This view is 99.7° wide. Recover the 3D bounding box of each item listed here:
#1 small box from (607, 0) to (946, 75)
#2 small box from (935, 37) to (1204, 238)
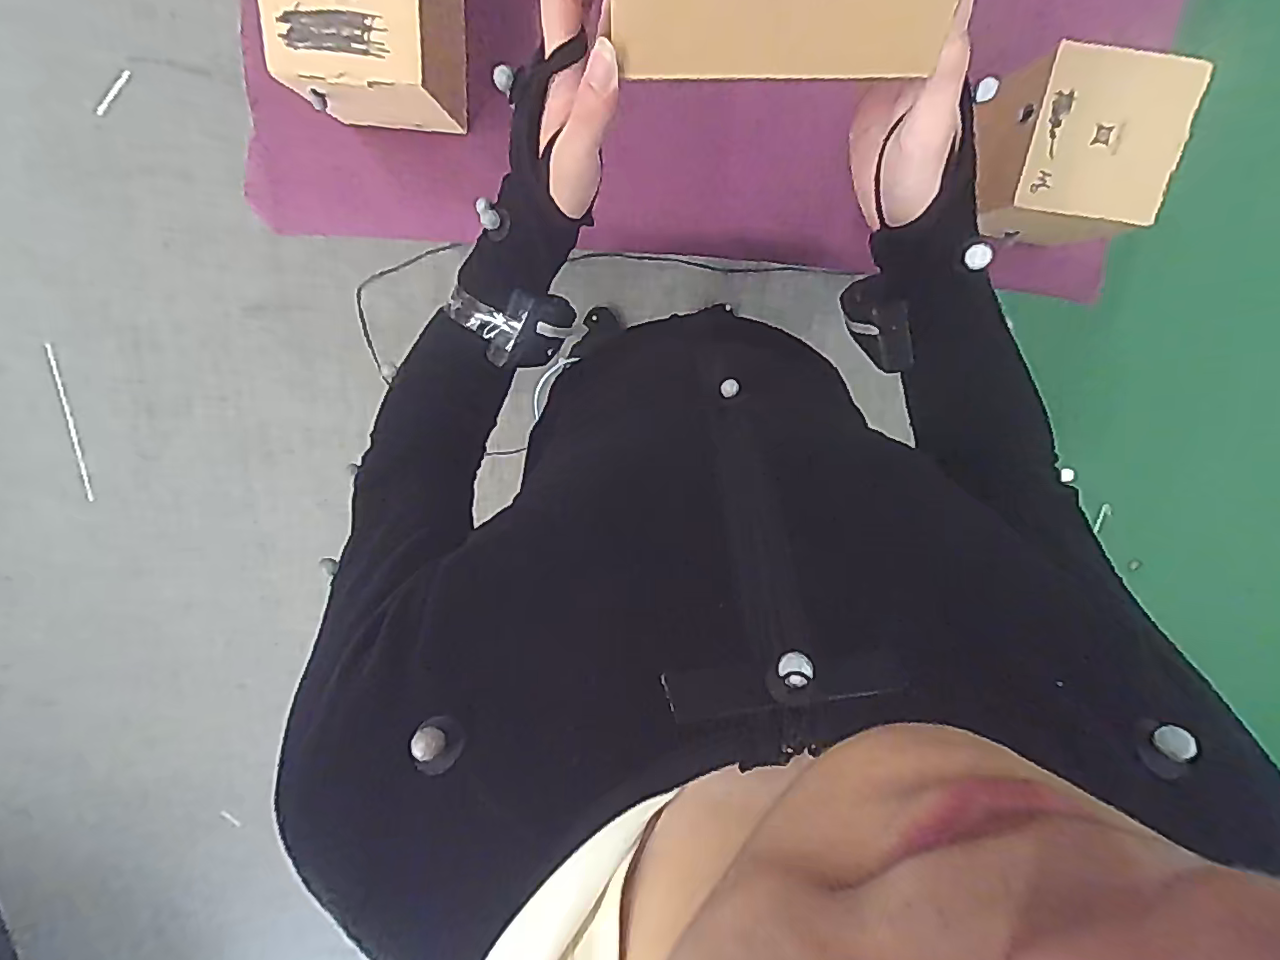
[{"bbox_3d":[0.065,-0.328,0.267,0.168,0.176,0.179,0,139,-1],"label":"small box"},{"bbox_3d":[0.519,-0.412,0.684,0.179,0.176,0.168,7,107,-3],"label":"small box"}]
